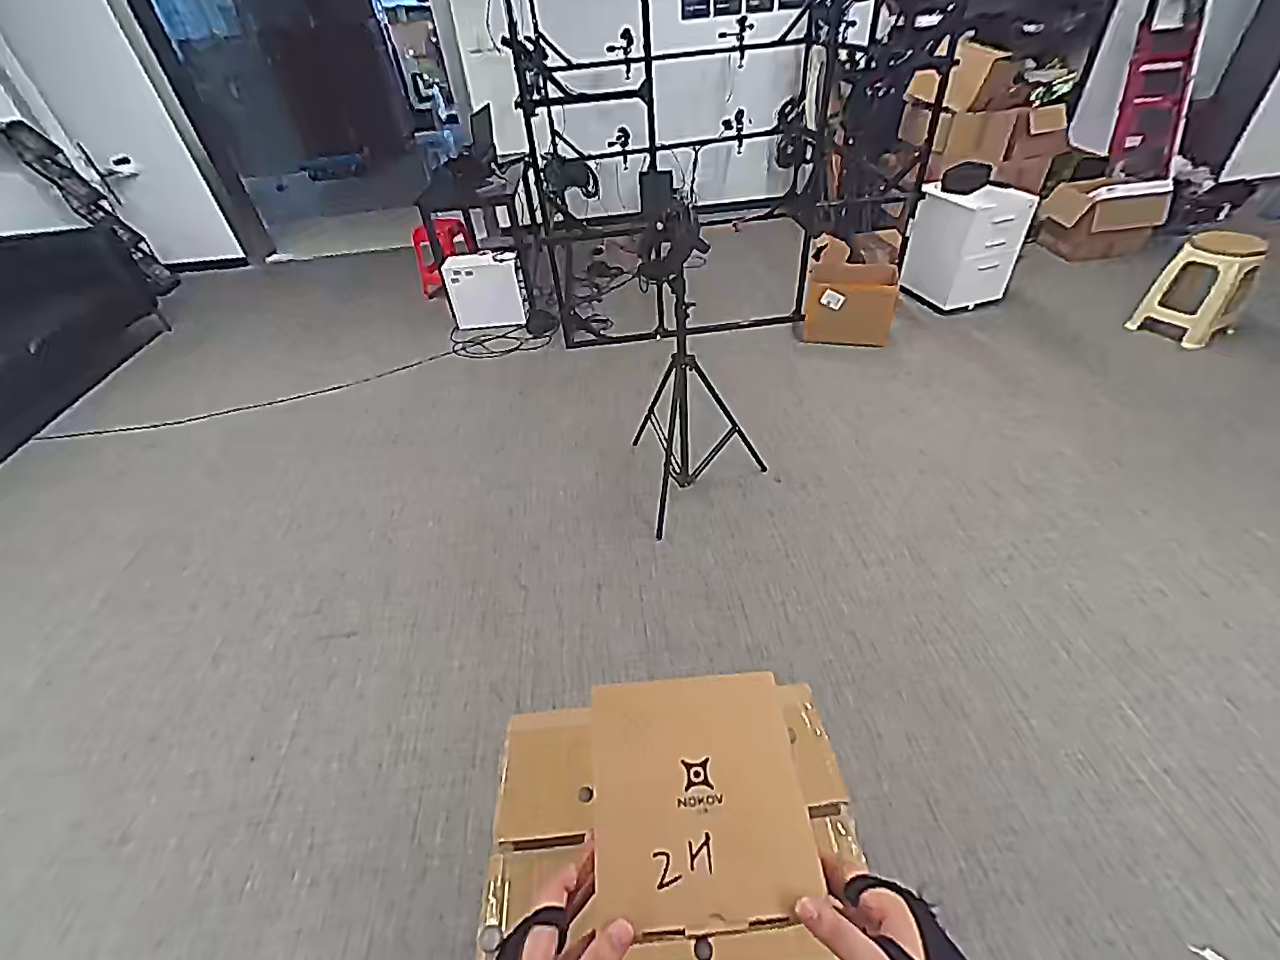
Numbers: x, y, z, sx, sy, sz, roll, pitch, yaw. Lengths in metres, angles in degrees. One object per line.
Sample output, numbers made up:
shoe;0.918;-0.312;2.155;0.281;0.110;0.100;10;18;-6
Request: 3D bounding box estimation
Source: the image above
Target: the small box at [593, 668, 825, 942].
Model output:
small box;0.043;0.292;0.488;0.168;0.176;0.179;-3;48;-3
